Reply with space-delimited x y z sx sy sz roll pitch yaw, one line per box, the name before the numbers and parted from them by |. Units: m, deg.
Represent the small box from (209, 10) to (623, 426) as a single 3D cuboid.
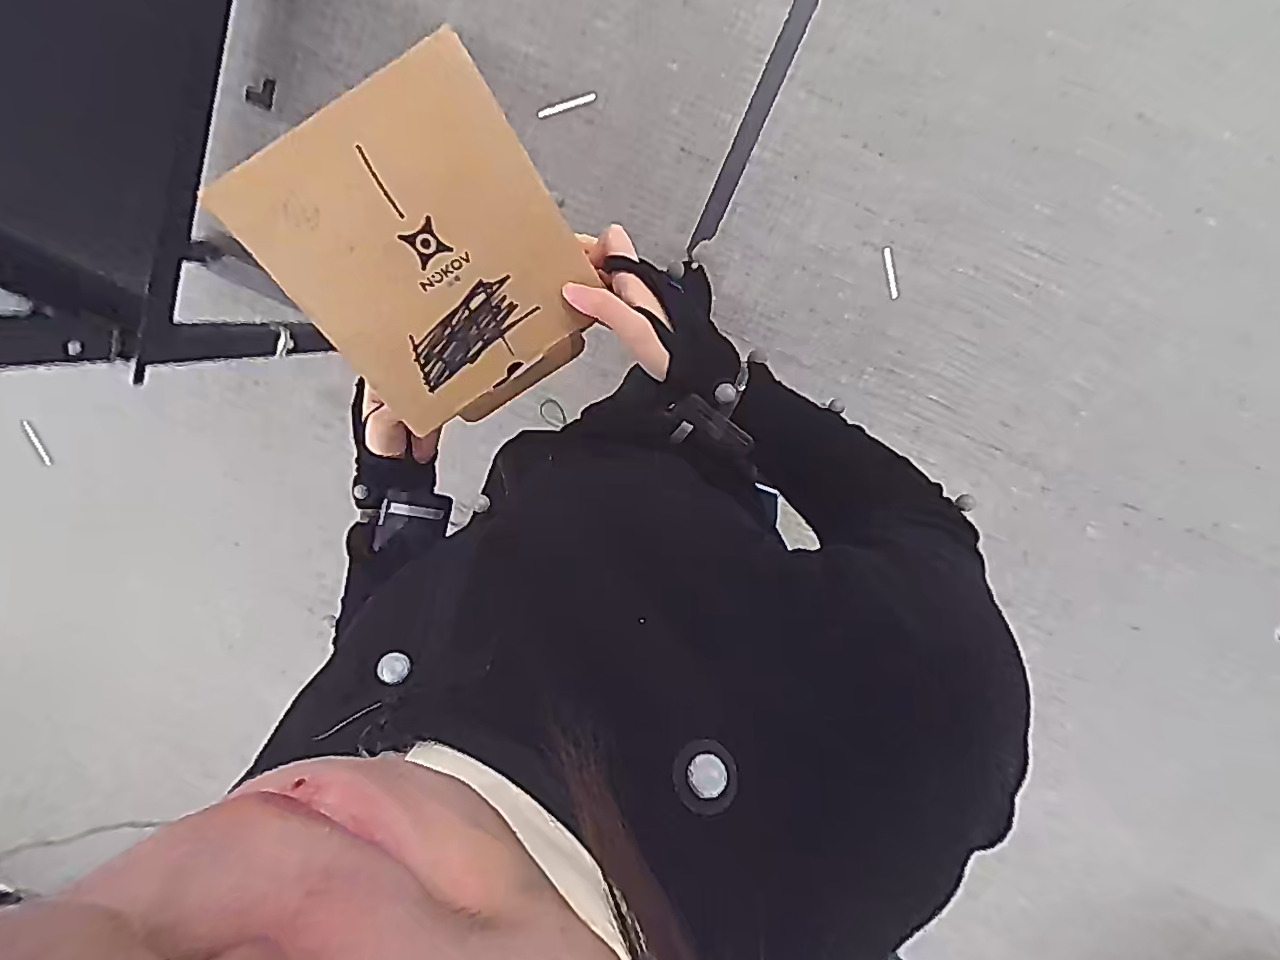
small box | -0.139 -0.173 0.391 0.168 0.176 0.179 -34 119 -2
